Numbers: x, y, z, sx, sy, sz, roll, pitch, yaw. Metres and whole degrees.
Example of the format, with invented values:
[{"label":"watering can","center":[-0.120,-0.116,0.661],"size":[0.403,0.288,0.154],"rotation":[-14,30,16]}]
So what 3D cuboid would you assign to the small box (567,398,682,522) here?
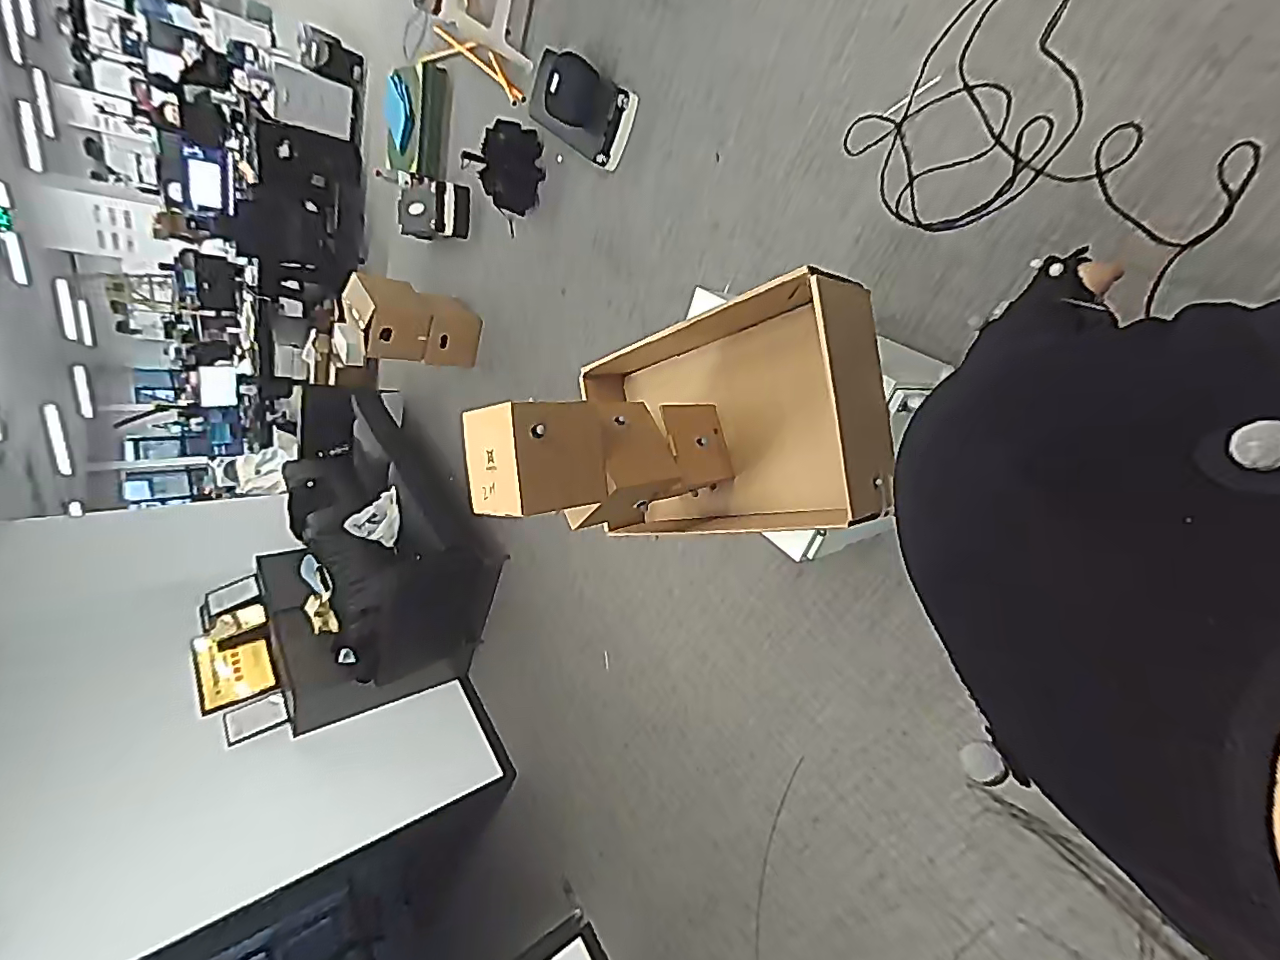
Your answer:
[{"label":"small box","center":[-0.053,-0.041,1.042],"size":[0.168,0.176,0.179],"rotation":[-44,67,43]}]

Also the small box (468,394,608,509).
[{"label":"small box","center":[-0.172,-0.051,0.925],"size":[0.168,0.176,0.179],"rotation":[0,97,48]}]
